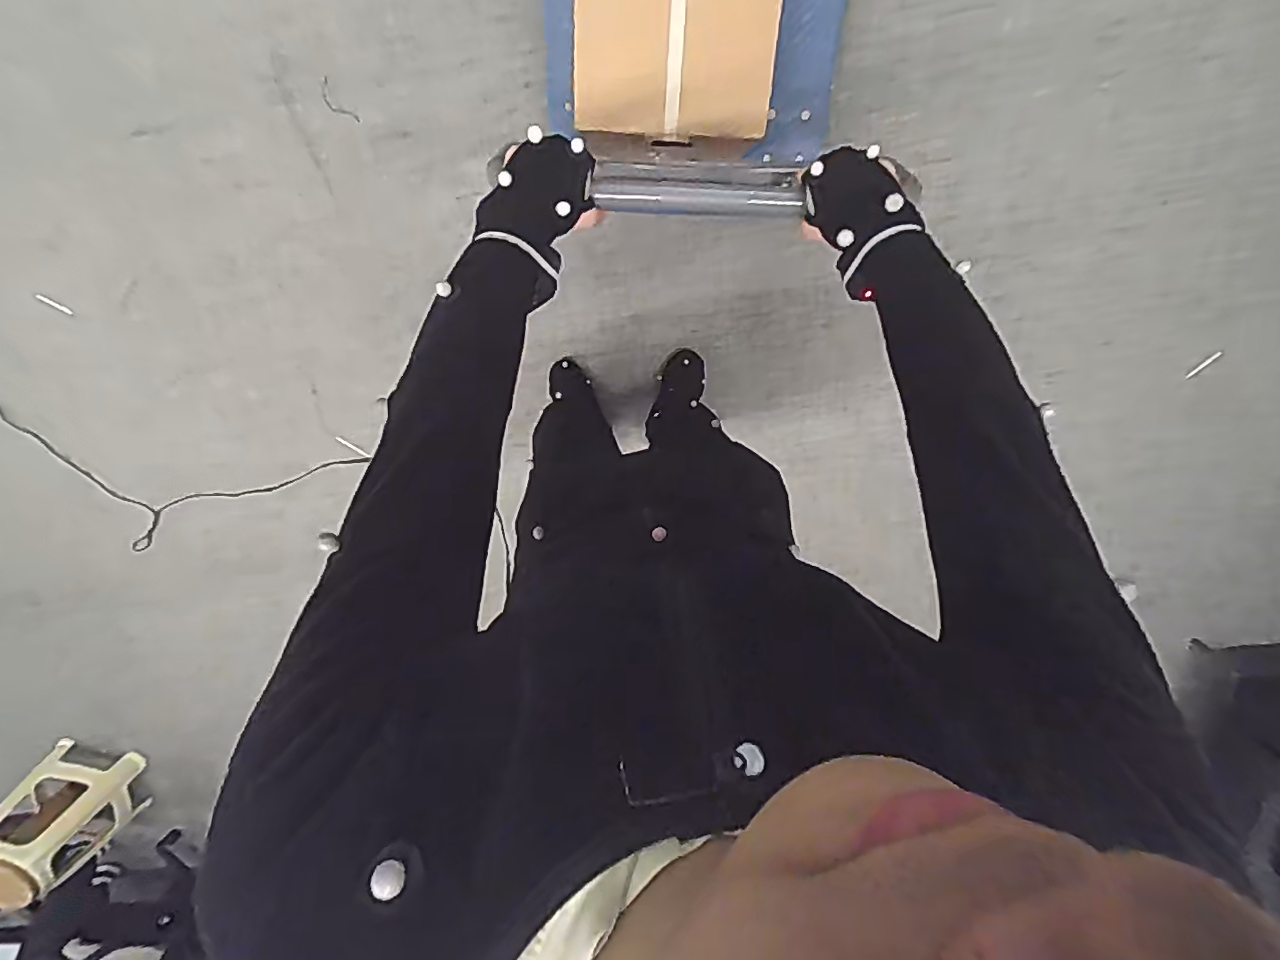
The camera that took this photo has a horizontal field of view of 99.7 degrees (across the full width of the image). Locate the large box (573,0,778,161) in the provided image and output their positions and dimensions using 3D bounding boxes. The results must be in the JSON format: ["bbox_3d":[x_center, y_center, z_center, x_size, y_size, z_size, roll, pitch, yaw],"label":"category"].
[{"bbox_3d":[0.062,-0.807,0.941,0.320,0.320,0.408,3,113,1],"label":"large box"}]
